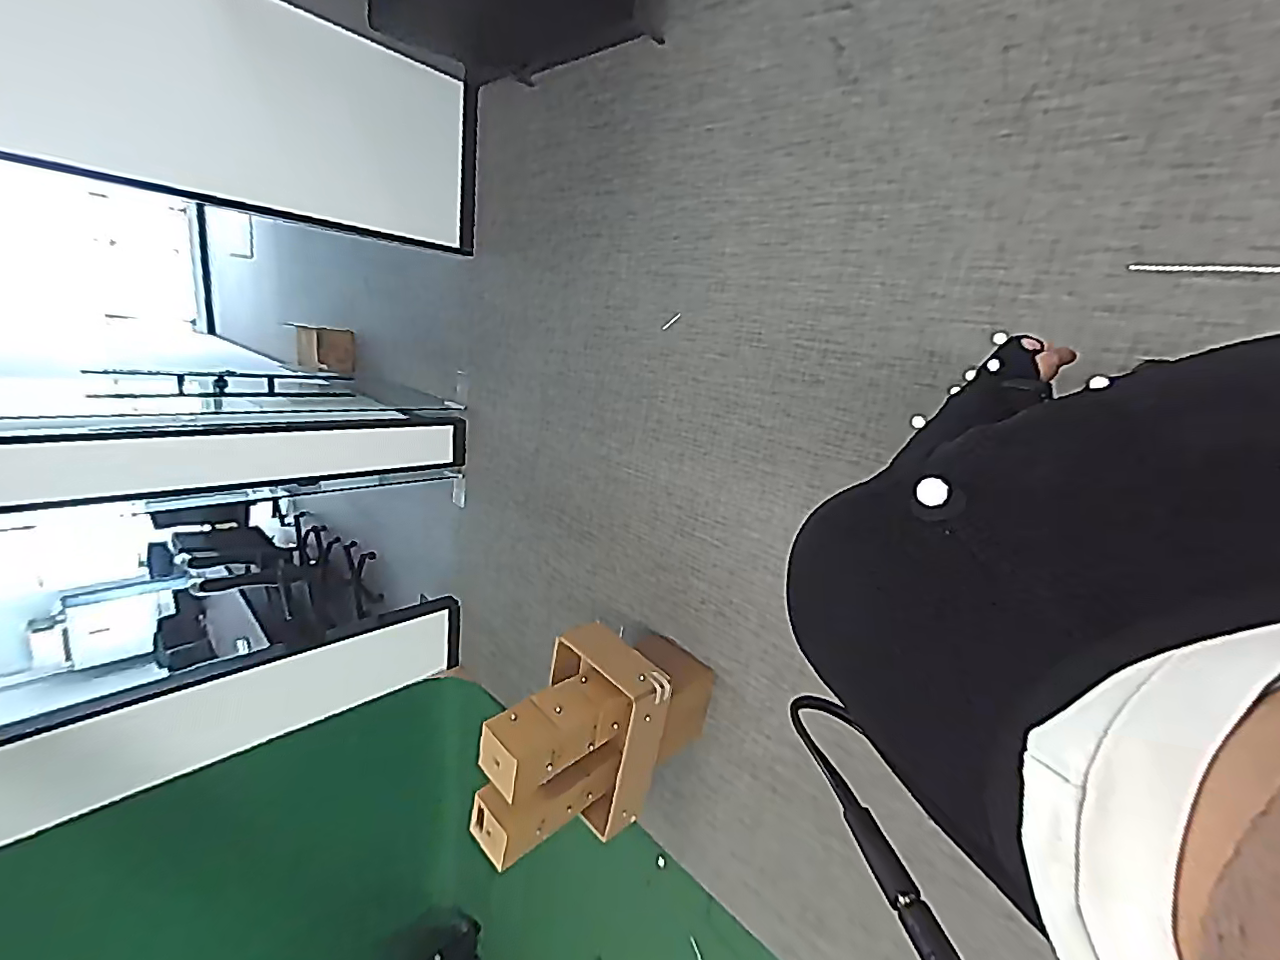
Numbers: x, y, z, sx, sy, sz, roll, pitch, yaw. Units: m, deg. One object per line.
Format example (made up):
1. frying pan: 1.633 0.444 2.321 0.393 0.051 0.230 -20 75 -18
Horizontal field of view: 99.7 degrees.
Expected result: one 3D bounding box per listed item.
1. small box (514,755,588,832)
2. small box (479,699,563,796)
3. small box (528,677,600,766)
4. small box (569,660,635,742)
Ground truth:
1. small box: -0.298 1.029 1.833 0.179 0.176 0.168 27 113 37
2. small box: -0.358 0.792 1.629 0.179 0.176 0.168 26 114 37
3. small box: -0.251 0.771 1.750 0.179 0.176 0.168 26 114 38
4. small box: -0.139 0.753 1.868 0.179 0.176 0.168 26 114 38
